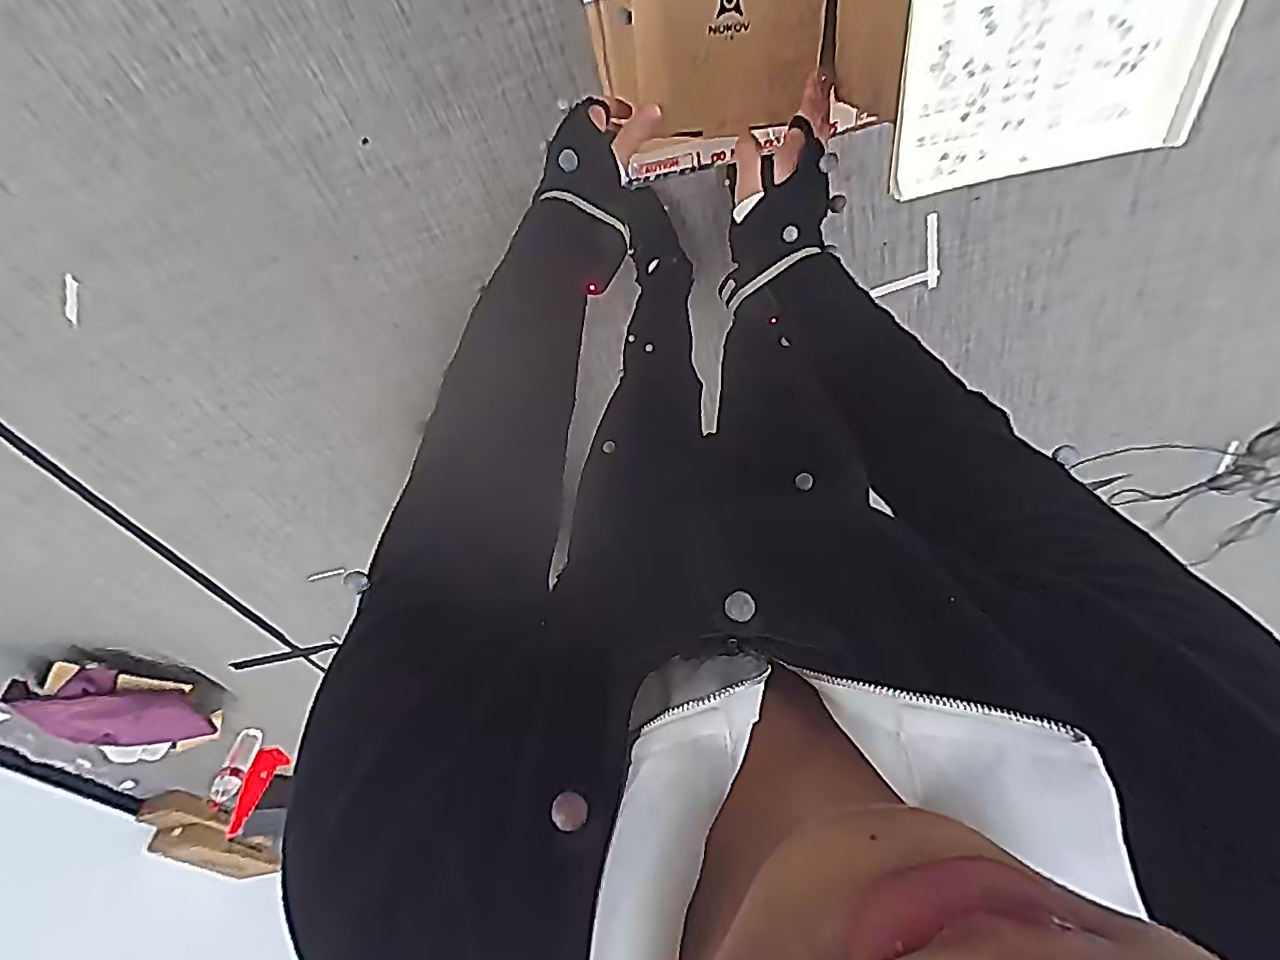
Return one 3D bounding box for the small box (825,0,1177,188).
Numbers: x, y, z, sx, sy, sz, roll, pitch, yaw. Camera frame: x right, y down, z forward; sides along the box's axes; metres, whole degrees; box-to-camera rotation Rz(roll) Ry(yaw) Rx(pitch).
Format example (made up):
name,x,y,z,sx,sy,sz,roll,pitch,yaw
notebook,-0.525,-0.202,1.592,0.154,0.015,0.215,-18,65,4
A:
name,x,y,z,sx,sy,sz,roll,pitch,yaw
small box,0.244,-0.343,0.395,0.168,0.176,0.179,-11,132,4
